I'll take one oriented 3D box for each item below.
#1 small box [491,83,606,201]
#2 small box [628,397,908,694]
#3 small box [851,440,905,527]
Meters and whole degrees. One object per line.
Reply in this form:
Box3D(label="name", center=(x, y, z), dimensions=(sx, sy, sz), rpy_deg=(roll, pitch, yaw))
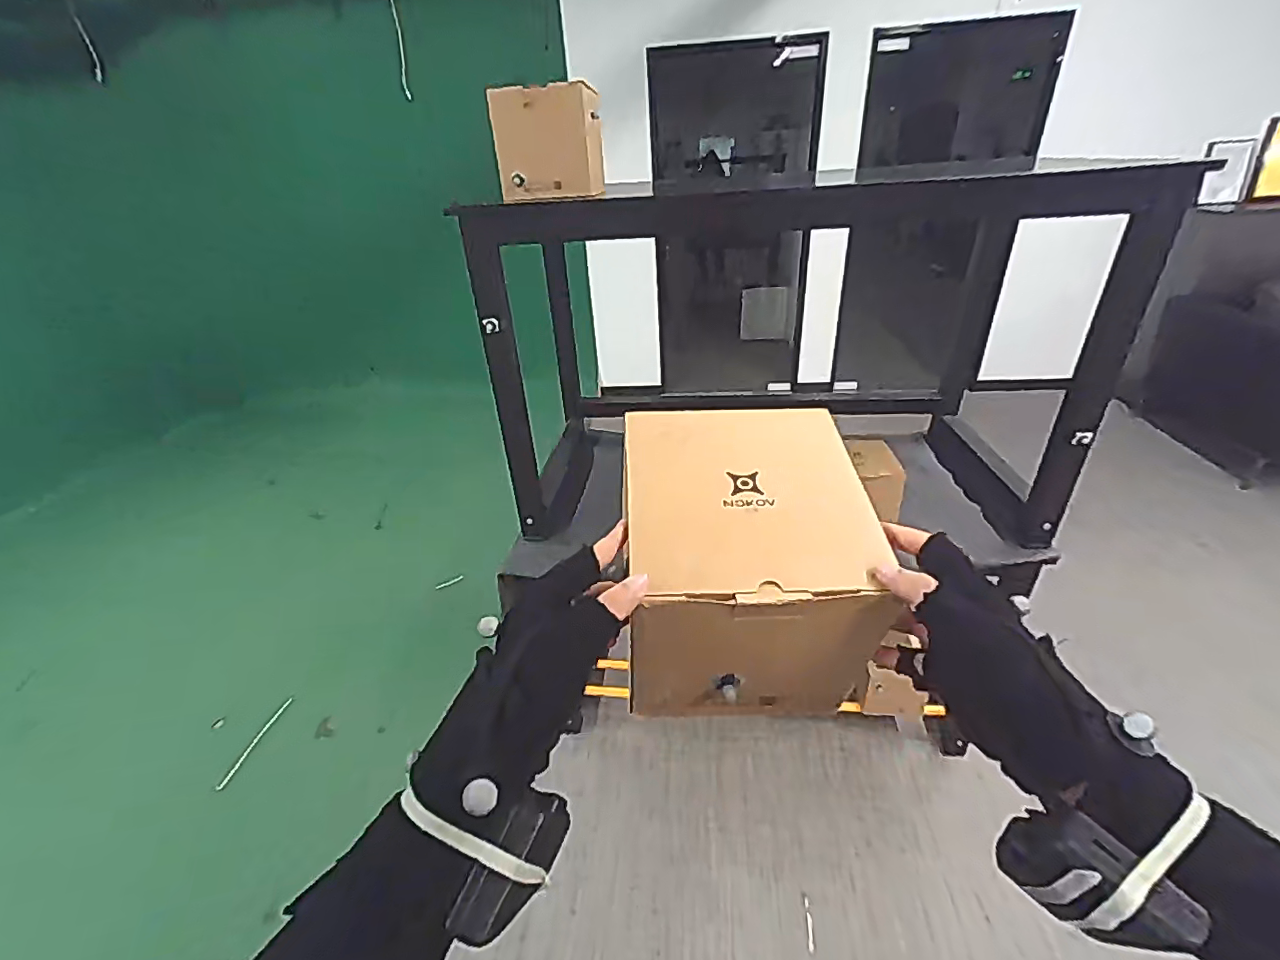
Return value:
Box3D(label="small box", center=(-0.159, -0.621, 1.009), dimensions=(0.168, 0.176, 0.179), rpy_deg=(0, 29, 5))
Box3D(label="small box", center=(0.075, 0.051, 0.437), dimensions=(0.168, 0.176, 0.179), rpy_deg=(-2, 45, -3))
Box3D(label="small box", center=(0.510, 0.014, 1.297), dimensions=(0.168, 0.176, 0.179), rpy_deg=(-1, 29, 7))
